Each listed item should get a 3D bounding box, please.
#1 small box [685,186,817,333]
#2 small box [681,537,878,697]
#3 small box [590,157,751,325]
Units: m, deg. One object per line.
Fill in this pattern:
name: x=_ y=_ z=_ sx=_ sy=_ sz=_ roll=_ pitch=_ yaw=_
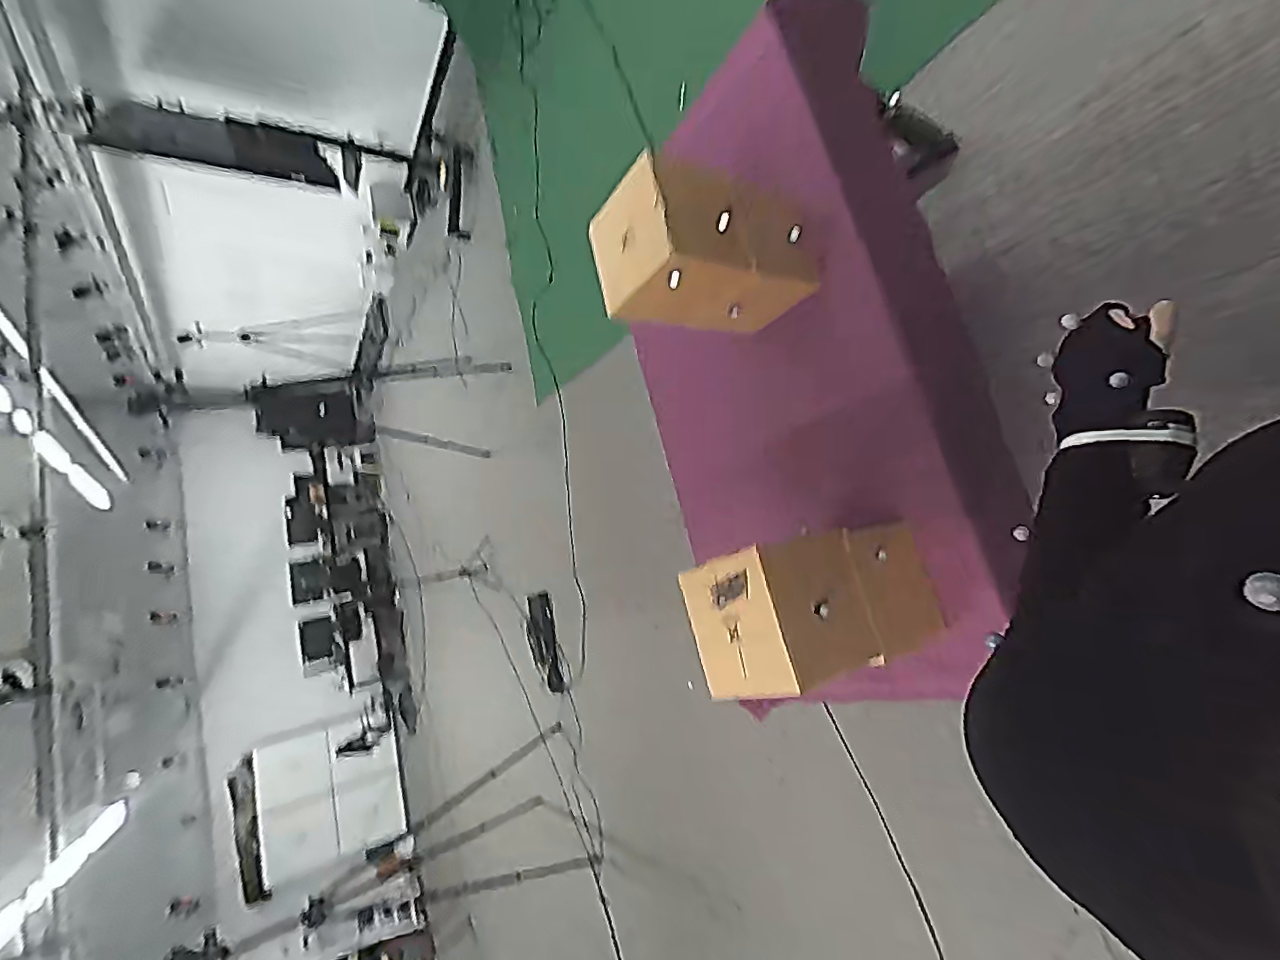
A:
small box: x=0.178 y=-0.374 z=0.956 sx=0.179 sy=0.176 sz=0.168 roll=-26 pitch=75 yaw=52
small box: x=0.189 y=0.184 z=0.744 sx=0.168 sy=0.176 sz=0.179 roll=-34 pitch=68 yaw=51
small box: x=0.045 y=-0.362 z=0.861 sx=0.179 sy=0.176 sz=0.168 roll=-26 pitch=74 yaw=52
